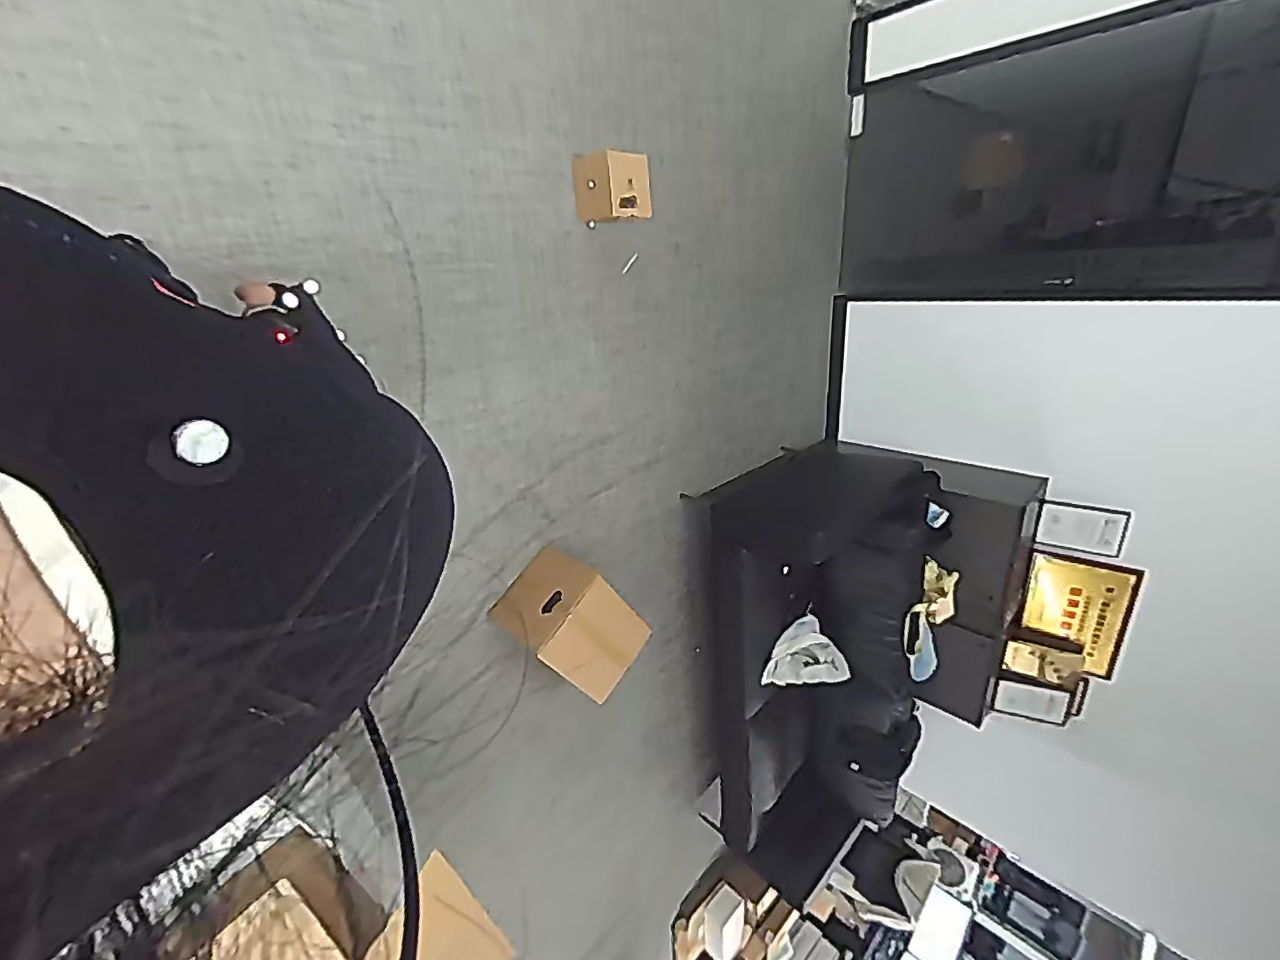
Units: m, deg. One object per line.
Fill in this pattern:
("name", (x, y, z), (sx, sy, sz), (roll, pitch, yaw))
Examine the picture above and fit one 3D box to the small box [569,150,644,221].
("small box", (-0.105, -0.917, 1.698), (0.168, 0.176, 0.179), (-22, 118, -39))
